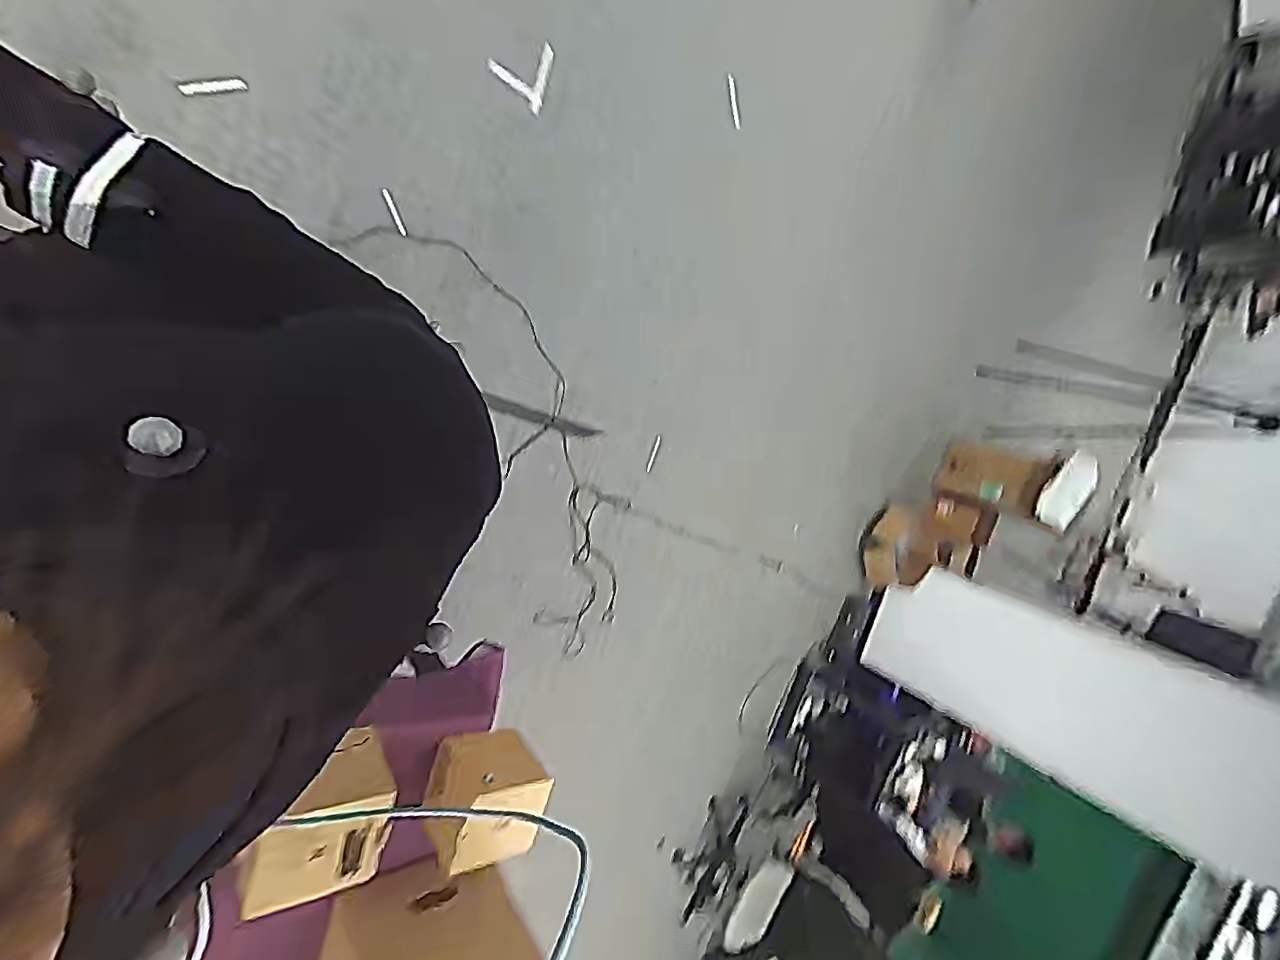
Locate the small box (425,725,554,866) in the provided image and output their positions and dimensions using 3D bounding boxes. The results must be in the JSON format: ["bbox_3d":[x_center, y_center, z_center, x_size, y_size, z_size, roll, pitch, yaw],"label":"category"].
[{"bbox_3d":[-0.309,0.624,1.099,0.179,0.176,0.168,12,99,-41],"label":"small box"}]
